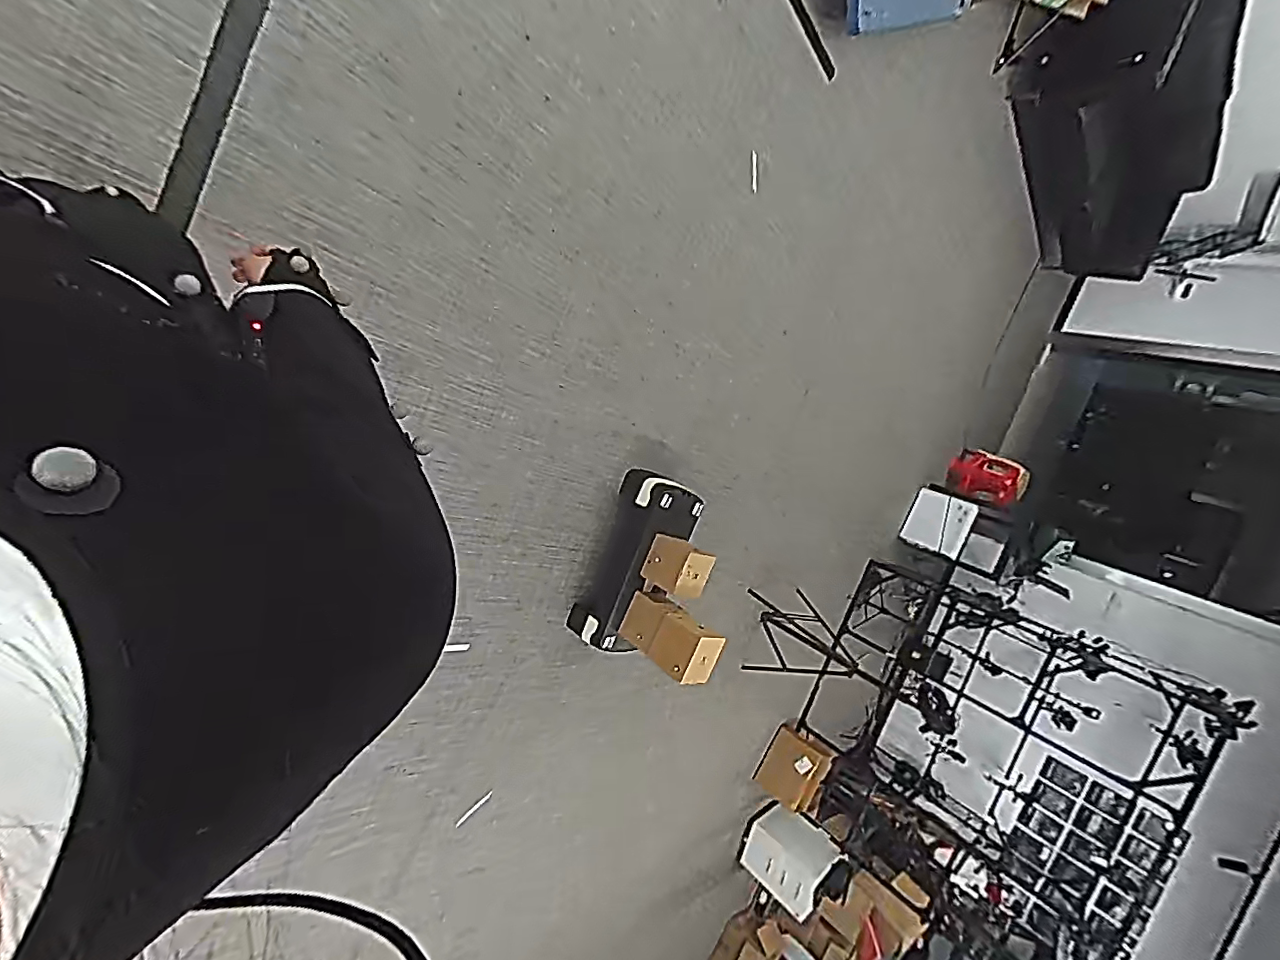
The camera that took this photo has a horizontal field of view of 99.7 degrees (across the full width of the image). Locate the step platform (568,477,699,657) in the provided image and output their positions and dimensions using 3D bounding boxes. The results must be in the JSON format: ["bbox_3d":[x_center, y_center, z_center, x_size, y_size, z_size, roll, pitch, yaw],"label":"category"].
[{"bbox_3d":[-0.017,0.343,2.104,0.286,0.204,0.684,17,95,-49],"label":"step platform"}]

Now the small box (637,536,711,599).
[{"bbox_3d":[0.121,0.317,1.971,0.179,0.176,0.168,20,93,-48],"label":"small box"}]

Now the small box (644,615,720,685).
[{"bbox_3d":[0.142,0.585,1.874,0.168,0.176,0.179,22,93,-48],"label":"small box"}]
